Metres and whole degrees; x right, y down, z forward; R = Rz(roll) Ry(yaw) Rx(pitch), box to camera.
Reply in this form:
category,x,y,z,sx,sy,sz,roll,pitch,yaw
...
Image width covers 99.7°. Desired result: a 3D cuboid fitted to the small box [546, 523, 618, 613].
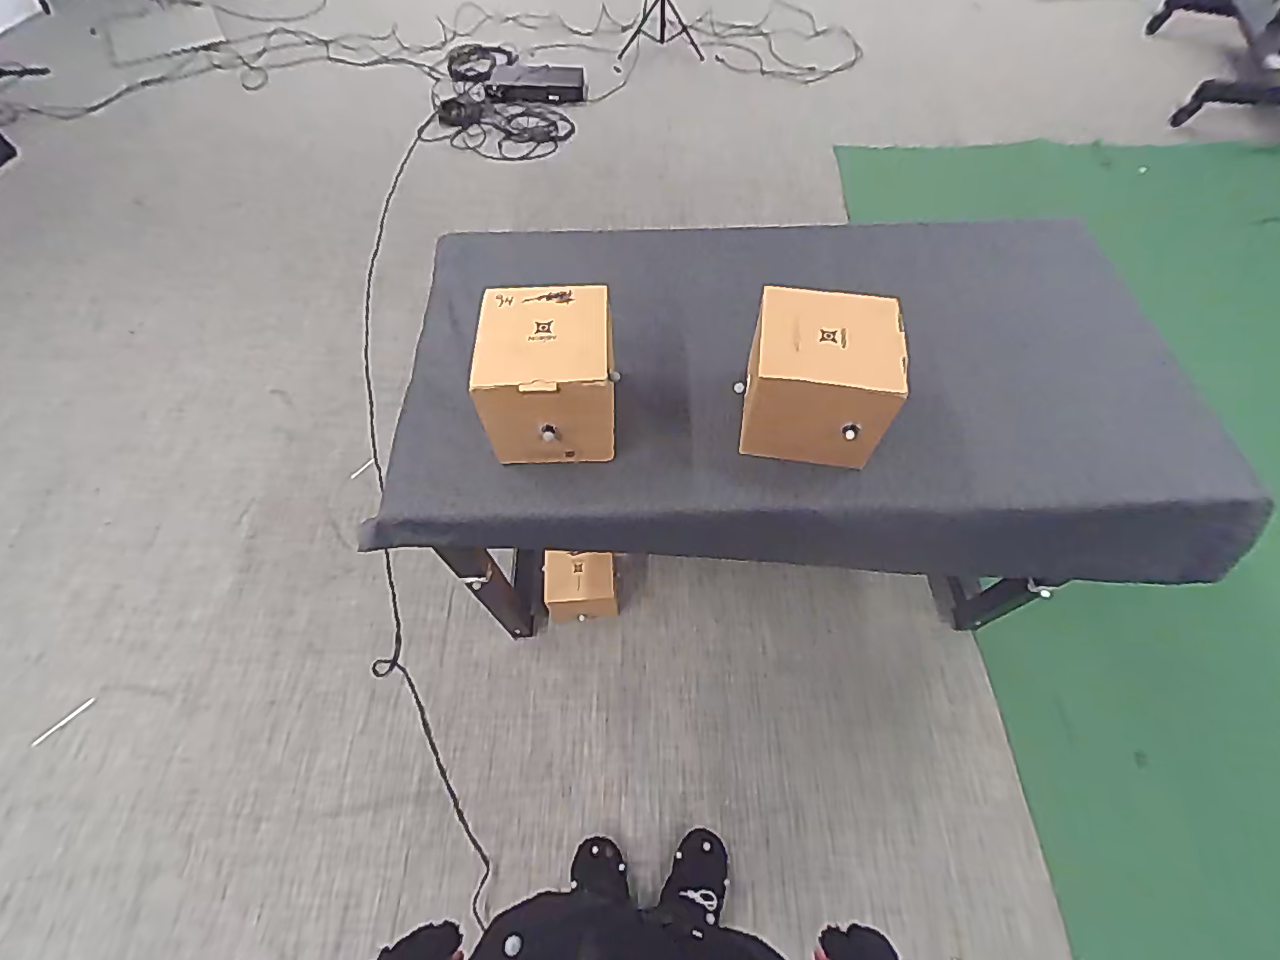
category,x,y,z,sx,sy,sz,roll,pitch,yaw
small box,-0.144,0.227,1.376,0.168,0.176,0.179,-4,61,-1

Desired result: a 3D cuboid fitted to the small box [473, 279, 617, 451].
category,x,y,z,sx,sy,sz,roll,pitch,yaw
small box,-0.118,-0.151,0.750,0.168,0.176,0.179,-2,60,-1

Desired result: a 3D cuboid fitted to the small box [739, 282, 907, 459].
category,x,y,z,sx,sy,sz,roll,pitch,yaw
small box,0.241,-0.144,0.746,0.179,0.176,0.168,7,59,6
